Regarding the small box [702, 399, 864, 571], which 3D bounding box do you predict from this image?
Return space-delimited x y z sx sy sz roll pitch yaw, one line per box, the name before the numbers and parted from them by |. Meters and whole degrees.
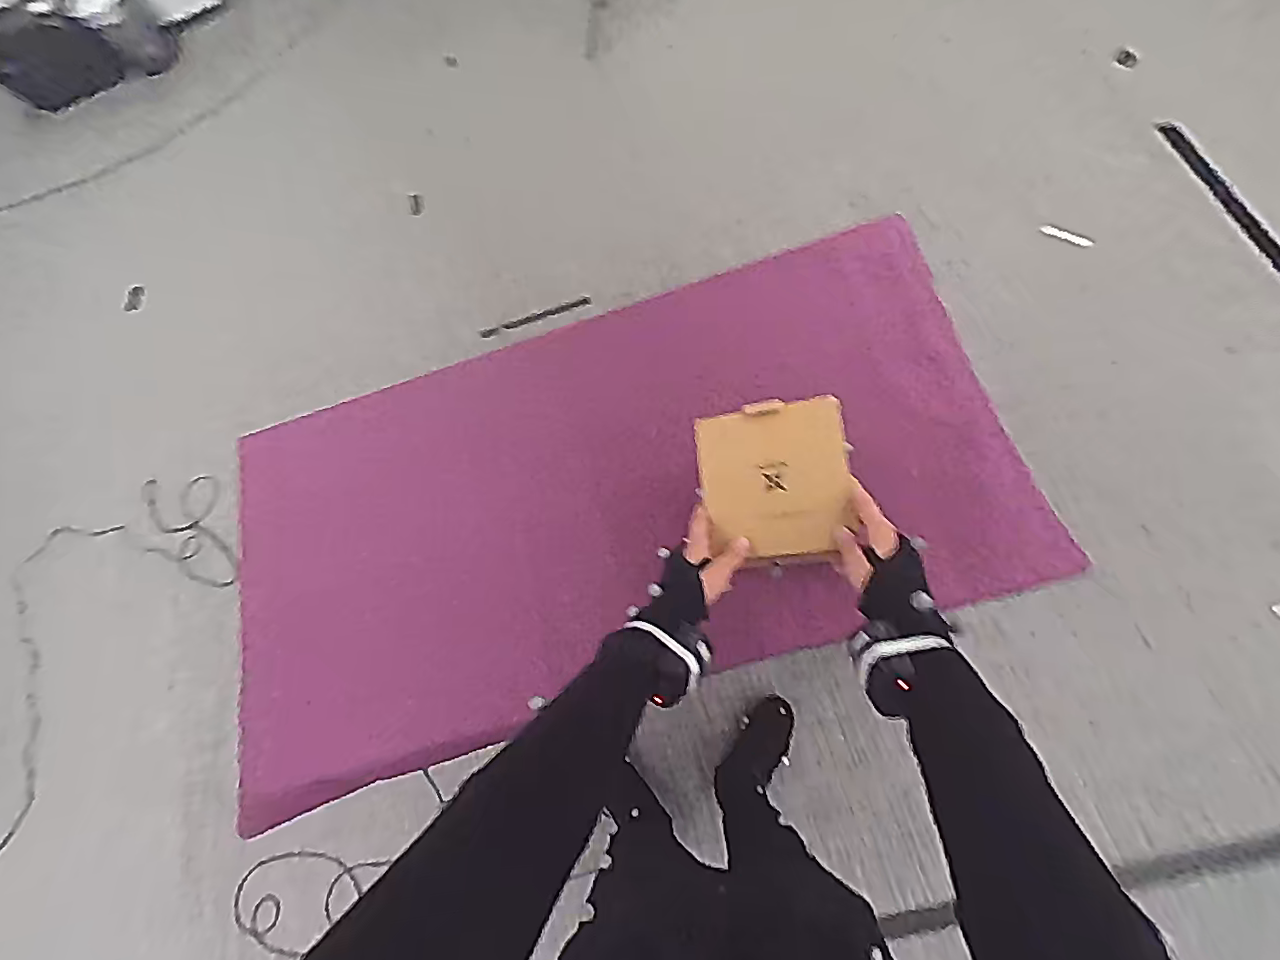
small box | 0.178 0.018 0.684 0.168 0.176 0.179 -7 76 16
